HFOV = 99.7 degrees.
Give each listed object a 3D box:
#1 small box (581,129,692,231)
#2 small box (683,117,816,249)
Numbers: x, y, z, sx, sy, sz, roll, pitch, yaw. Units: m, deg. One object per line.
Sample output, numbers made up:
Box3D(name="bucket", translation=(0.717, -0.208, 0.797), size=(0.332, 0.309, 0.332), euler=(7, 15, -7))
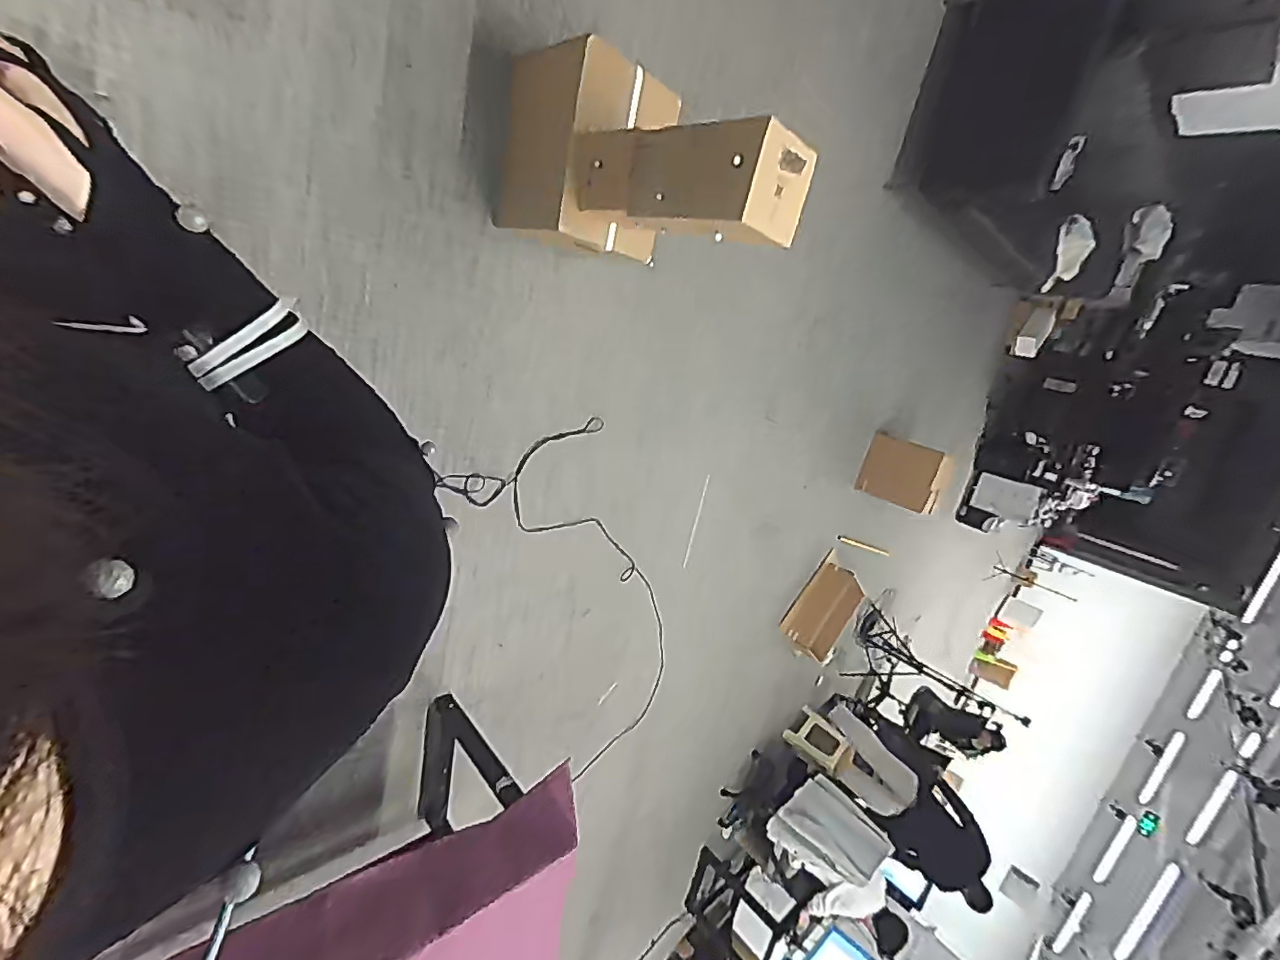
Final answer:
Box3D(name="small box", translation=(-0.011, -0.698, 1.270), size=(0.179, 0.176, 0.168), euler=(-4, 113, -42))
Box3D(name="small box", translation=(0.207, -0.573, 1.057), size=(0.168, 0.176, 0.179), euler=(0, 112, -44))
